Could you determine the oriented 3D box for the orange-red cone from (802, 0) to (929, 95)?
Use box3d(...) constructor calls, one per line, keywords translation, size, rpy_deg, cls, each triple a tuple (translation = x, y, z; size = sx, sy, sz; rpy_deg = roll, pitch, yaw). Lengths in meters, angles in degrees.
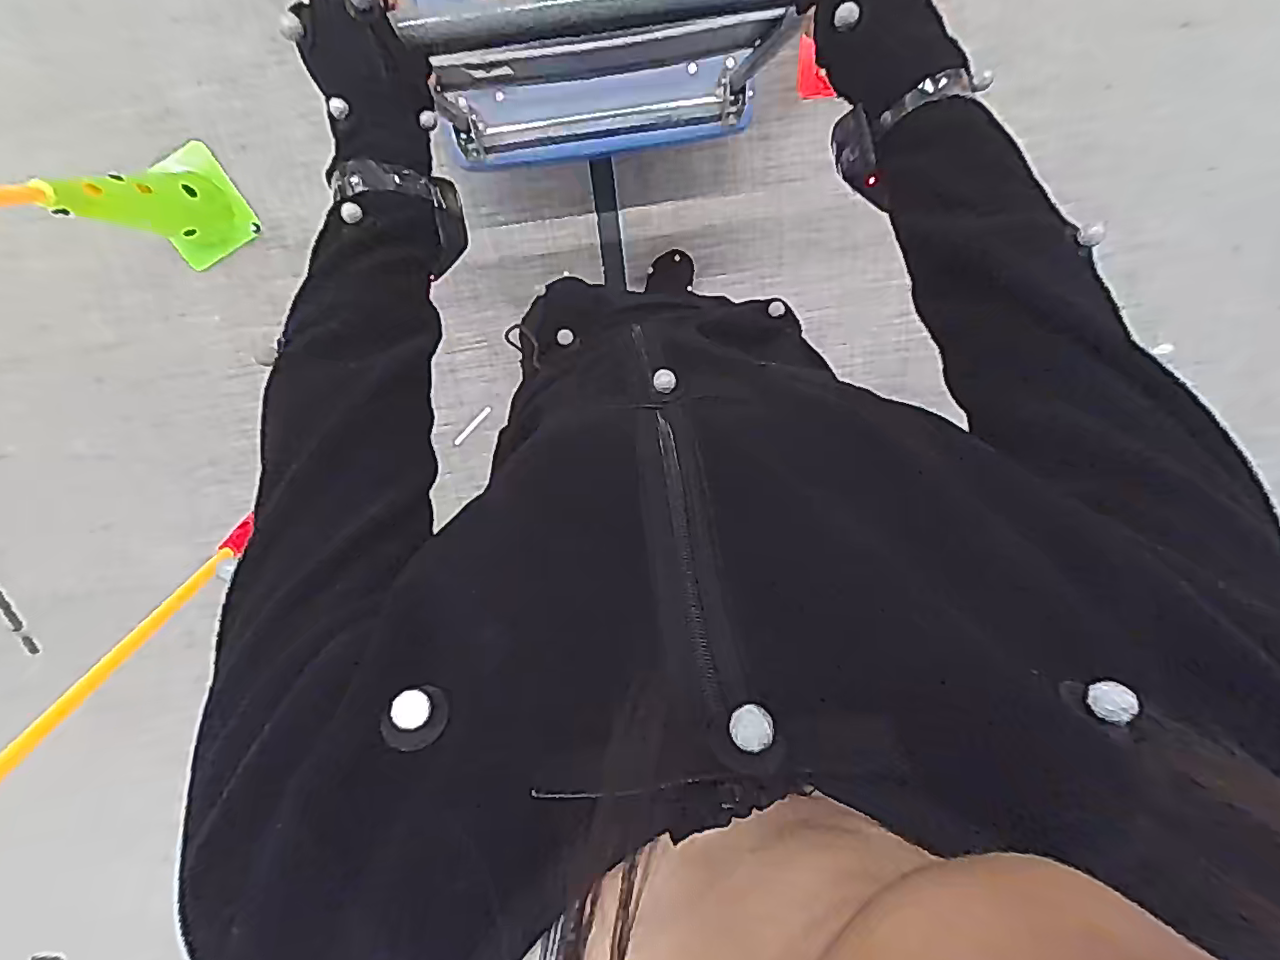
box3d(translation=(0.445, -0.834, 0.944), size=(0.199, 0.360, 0.198), rpy_deg=(-2, 114, -3), cls="orange-red cone")
